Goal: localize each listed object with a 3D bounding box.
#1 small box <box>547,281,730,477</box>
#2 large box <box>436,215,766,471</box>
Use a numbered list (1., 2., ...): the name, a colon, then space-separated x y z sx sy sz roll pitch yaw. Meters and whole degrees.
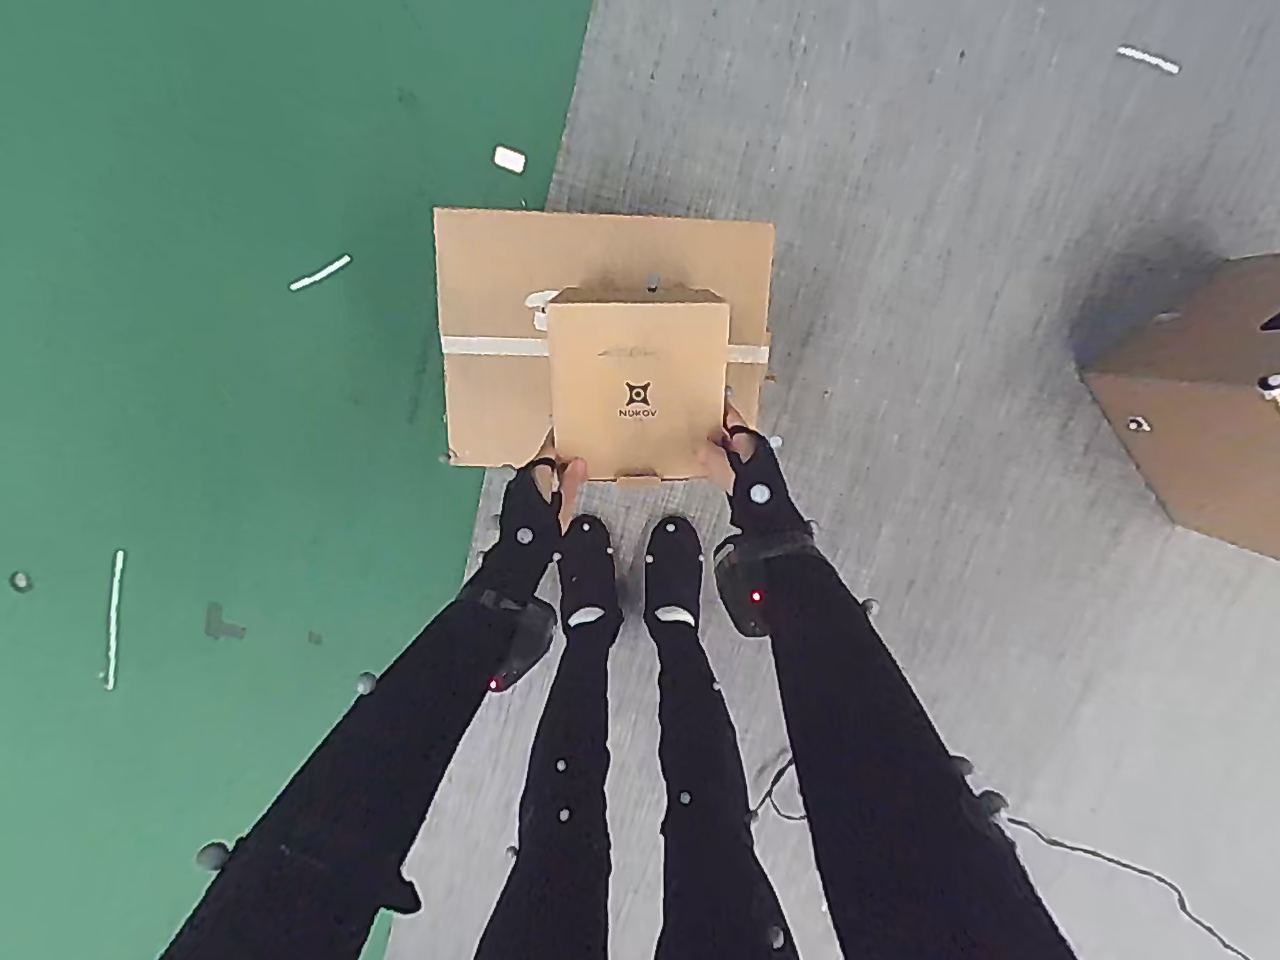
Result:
1. small box: -0.003 -0.115 0.583 0.168 0.176 0.179 0 113 -1
2. large box: -0.046 -0.203 0.824 0.408 0.320 0.320 2 104 0
